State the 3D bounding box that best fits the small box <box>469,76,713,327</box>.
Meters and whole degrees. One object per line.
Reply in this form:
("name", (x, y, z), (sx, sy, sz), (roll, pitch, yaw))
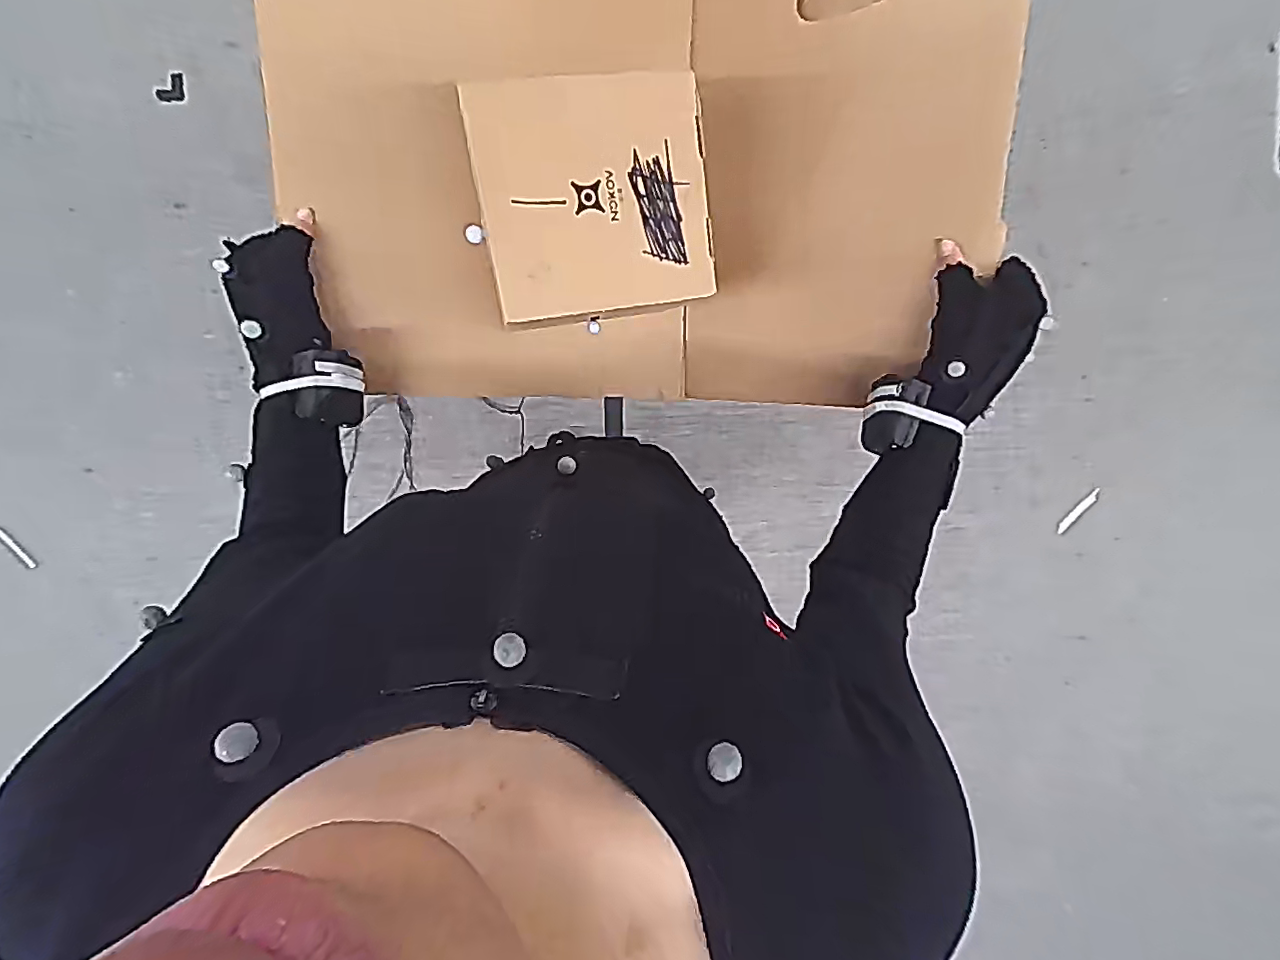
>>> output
("small box", (-0.050, -0.237, 0.497), (0.179, 0.176, 0.168), (-11, 105, -11))
